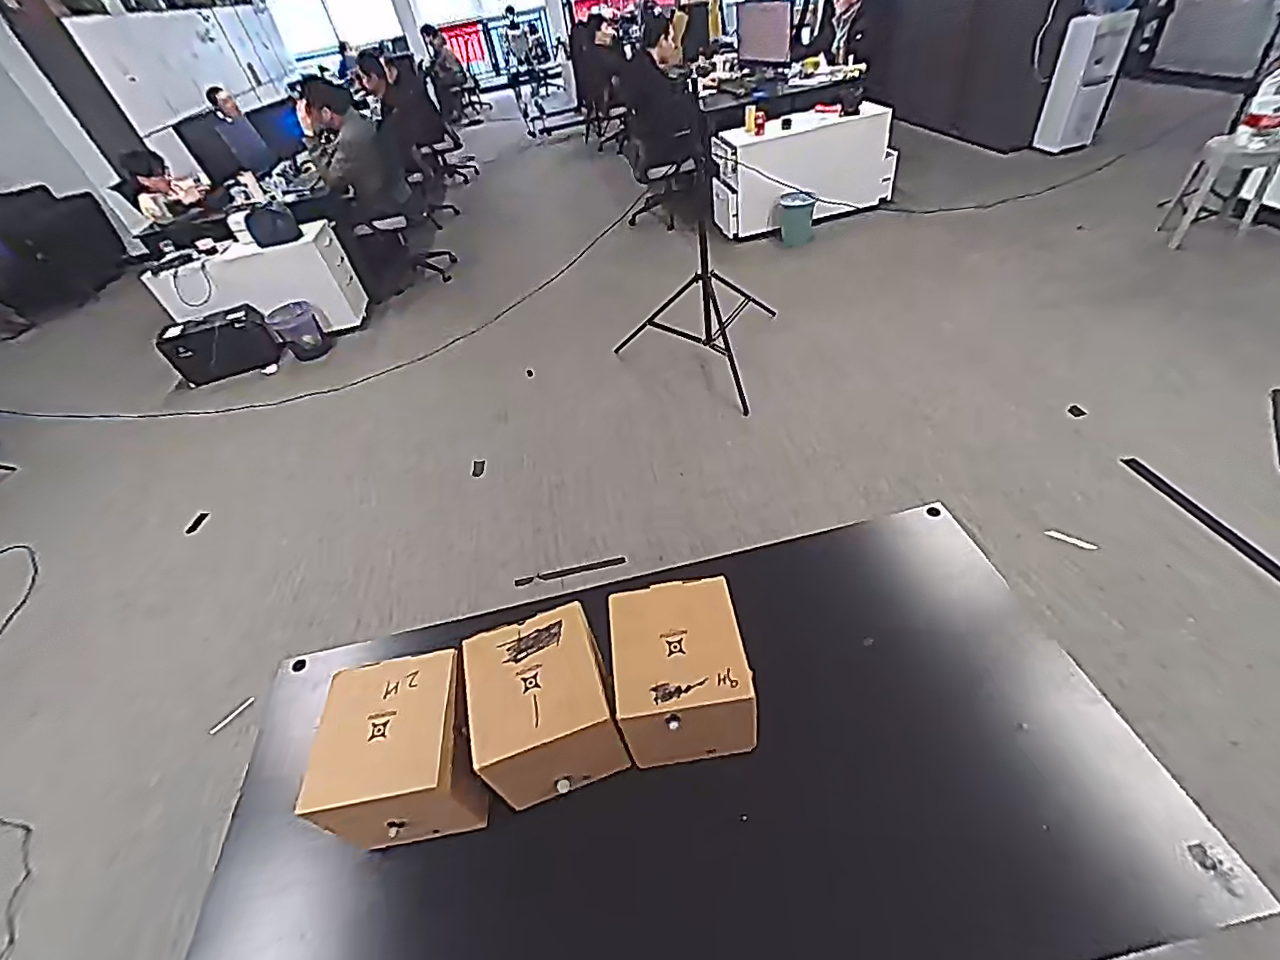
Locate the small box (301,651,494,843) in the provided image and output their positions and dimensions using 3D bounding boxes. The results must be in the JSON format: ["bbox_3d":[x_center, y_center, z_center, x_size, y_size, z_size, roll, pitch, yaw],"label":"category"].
[{"bbox_3d":[-0.303,0.362,0.724,0.168,0.176,0.179,-11,43,0],"label":"small box"}]
